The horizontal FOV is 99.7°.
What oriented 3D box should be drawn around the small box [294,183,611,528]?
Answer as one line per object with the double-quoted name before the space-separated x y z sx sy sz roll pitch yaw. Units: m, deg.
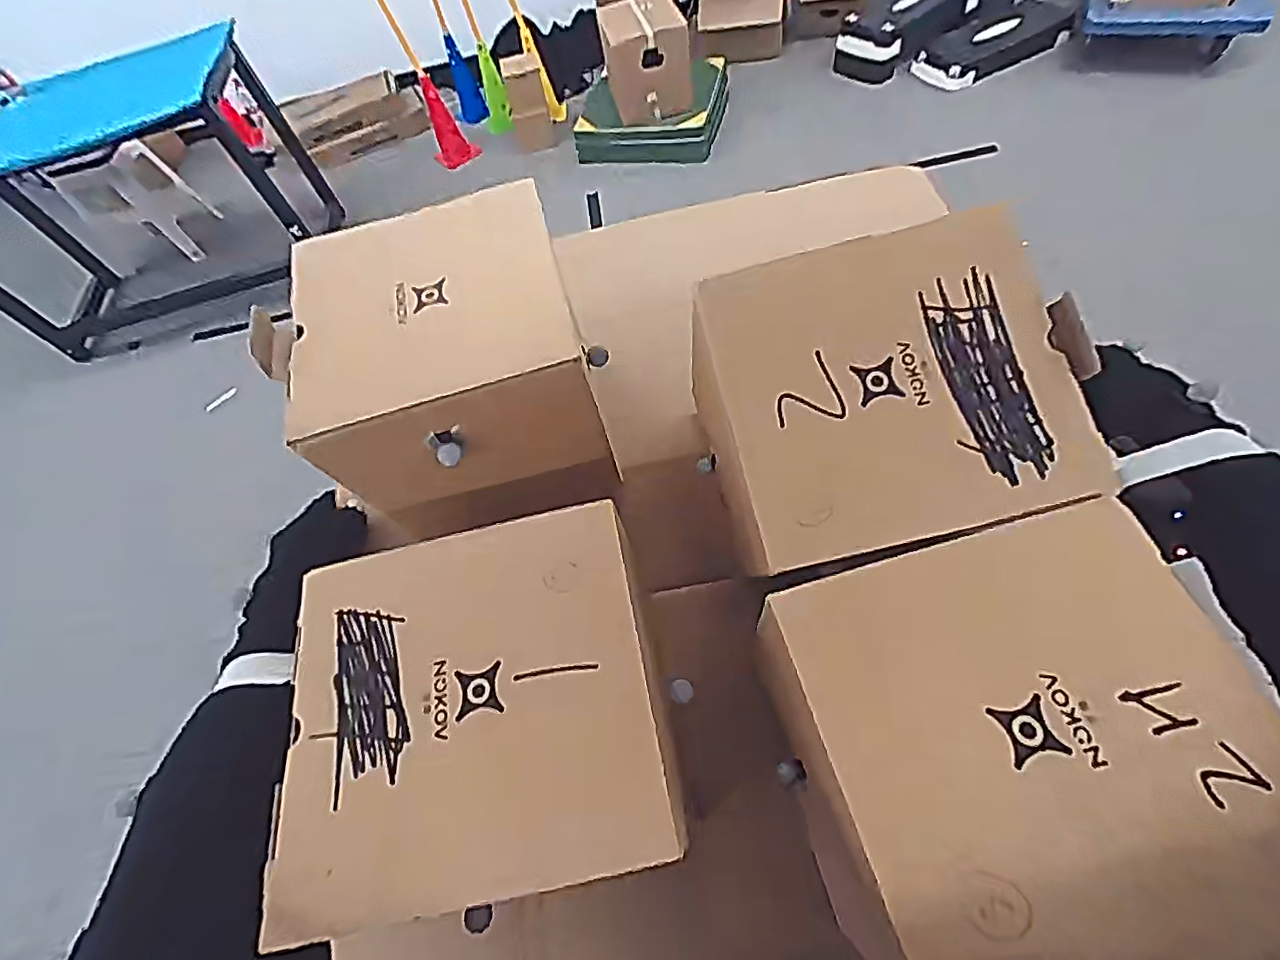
"small box" -0.127 -0.082 0.419 0.179 0.176 0.168 -17 63 1
